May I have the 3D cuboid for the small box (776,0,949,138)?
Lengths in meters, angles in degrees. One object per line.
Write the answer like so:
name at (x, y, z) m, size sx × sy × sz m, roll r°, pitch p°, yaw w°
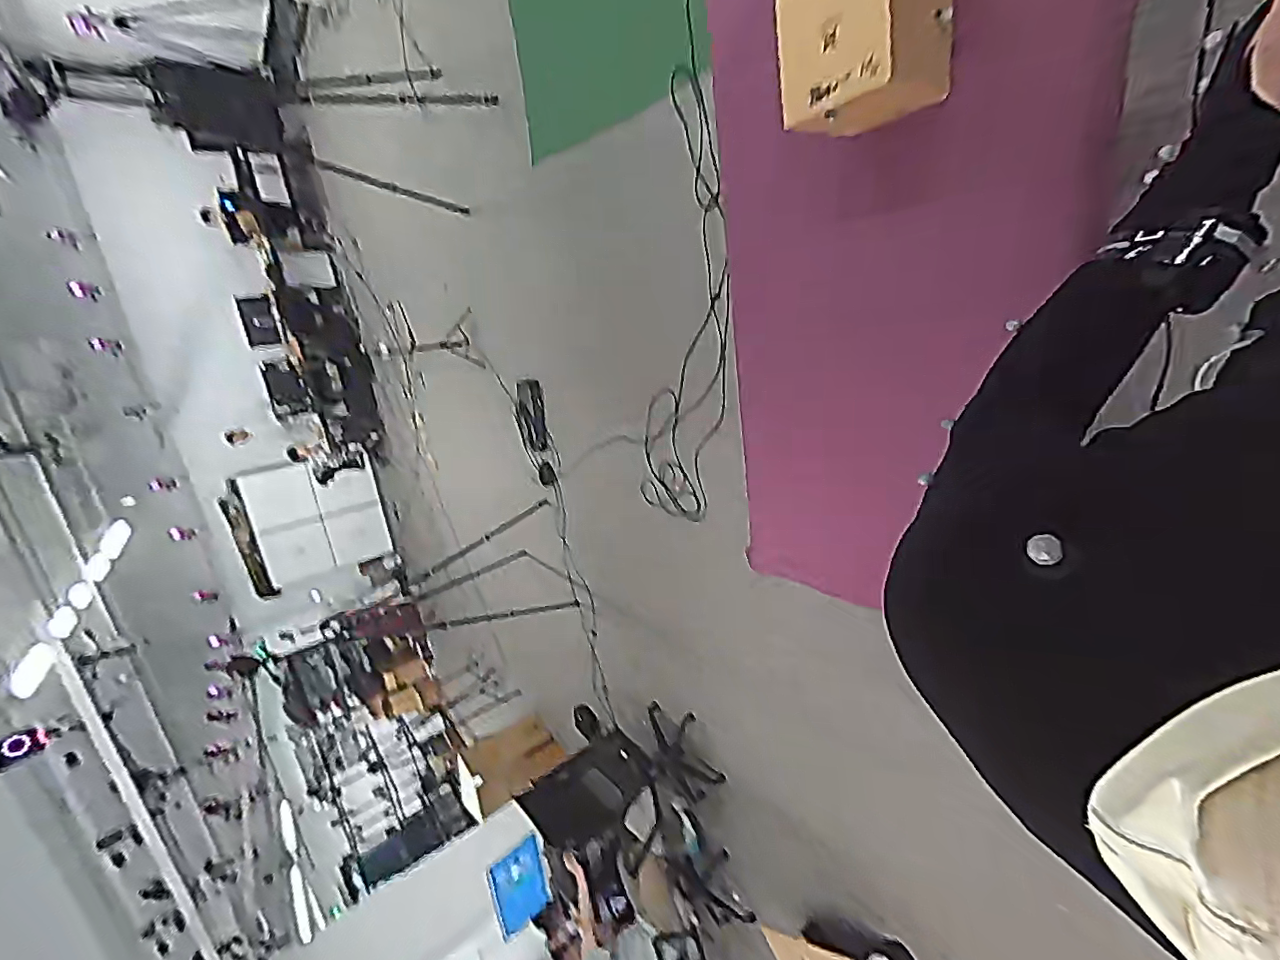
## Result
small box at (0.313, -0.610, 0.761) m, size 0.168 × 0.176 × 0.179 m, roll 13°, pitch 116°, yaw 51°
